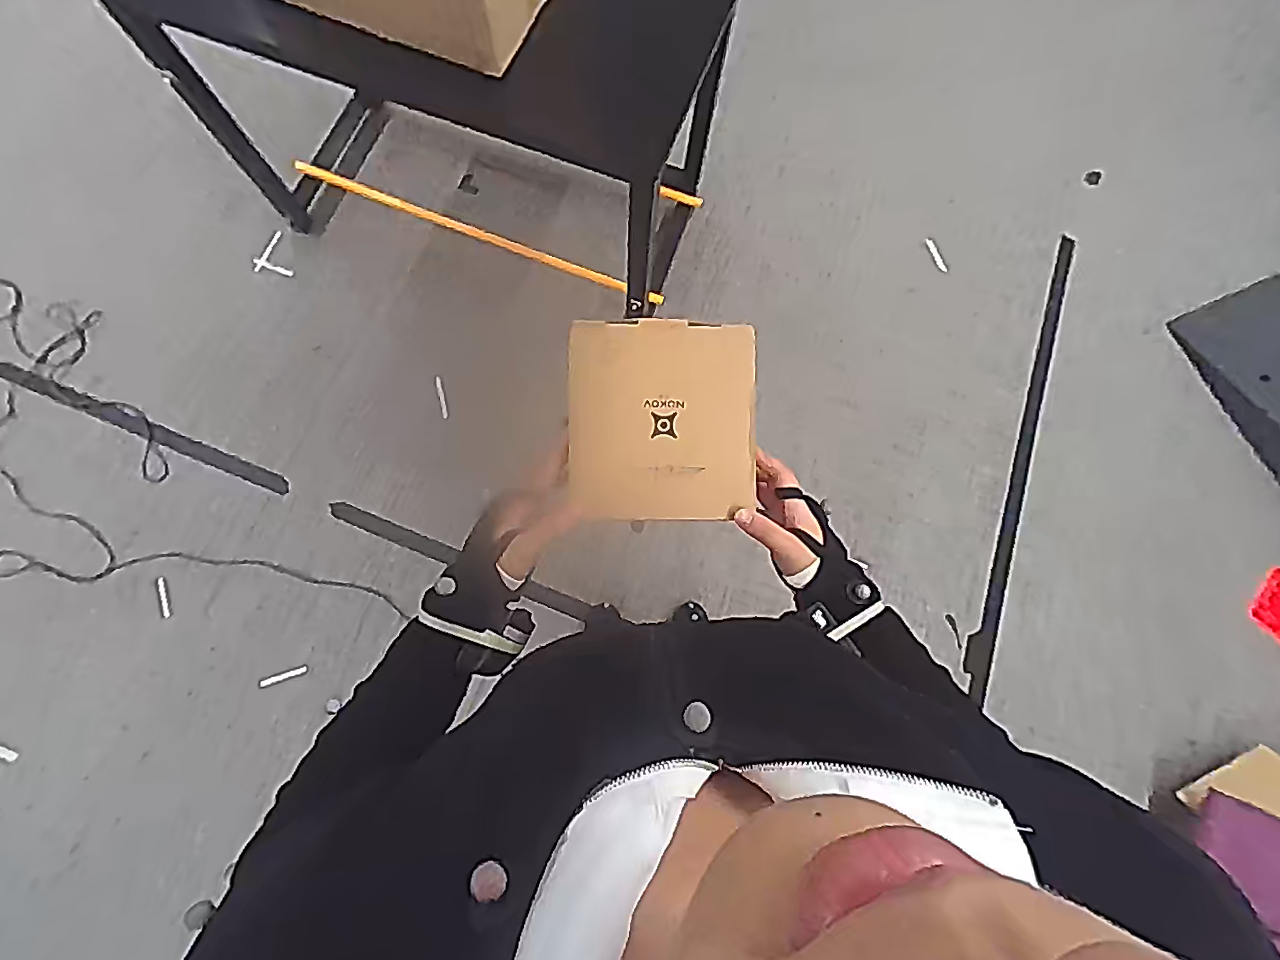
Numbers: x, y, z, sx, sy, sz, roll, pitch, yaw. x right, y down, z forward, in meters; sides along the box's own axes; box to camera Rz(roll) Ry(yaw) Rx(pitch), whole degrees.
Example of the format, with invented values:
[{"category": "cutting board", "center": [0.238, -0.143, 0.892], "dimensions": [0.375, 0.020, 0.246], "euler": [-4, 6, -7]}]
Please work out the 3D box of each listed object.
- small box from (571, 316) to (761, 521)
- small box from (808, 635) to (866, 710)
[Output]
[{"category": "small box", "center": [0.016, -0.049, 0.541], "dimensions": [0.168, 0.176, 0.179], "euler": [0, 89, -5]}, {"category": "small box", "center": [0.553, 0.509, 1.394], "dimensions": [0.168, 0.176, 0.179], "euler": [17, 77, 2]}]
